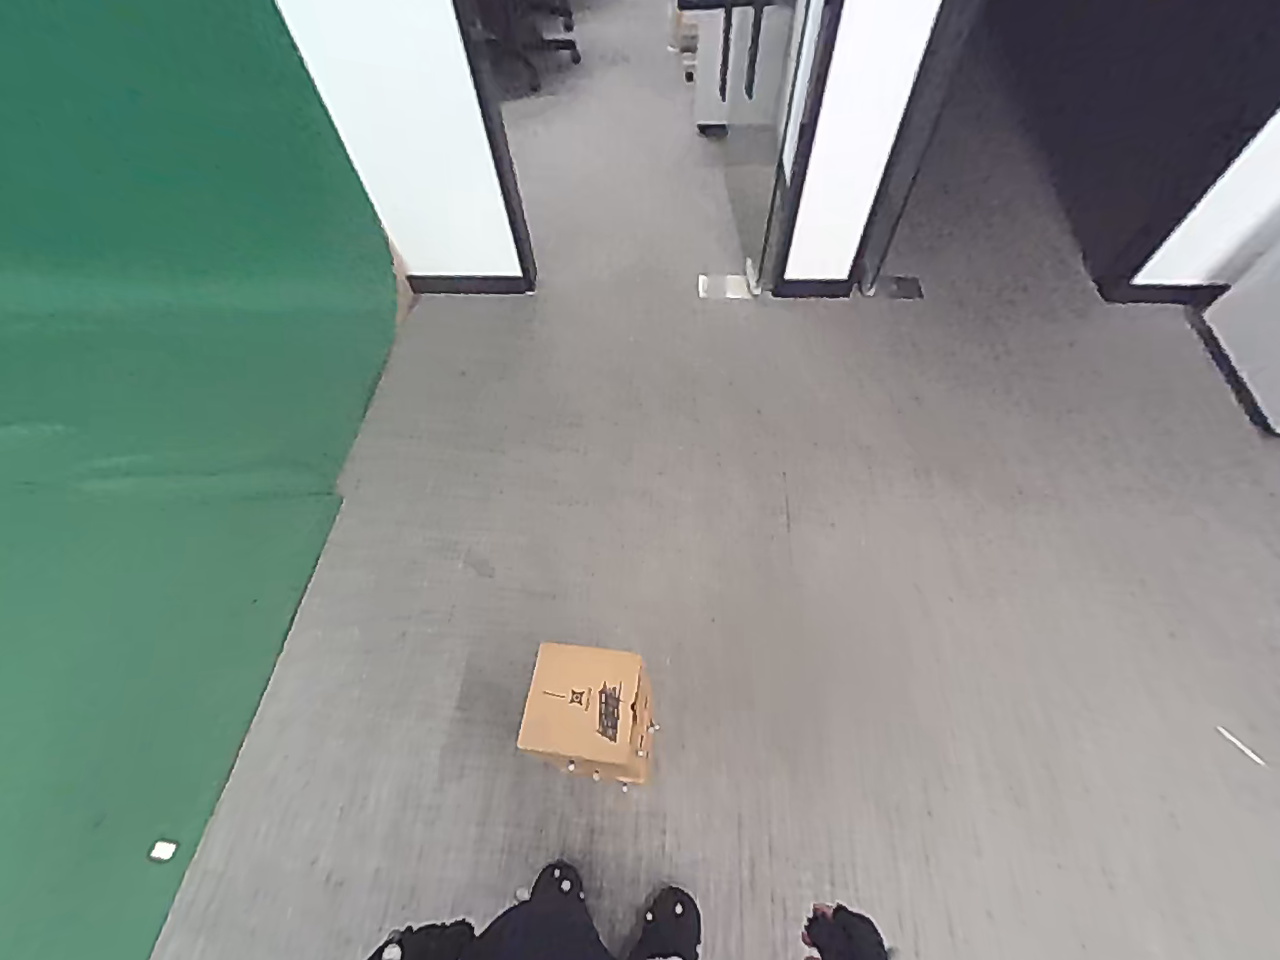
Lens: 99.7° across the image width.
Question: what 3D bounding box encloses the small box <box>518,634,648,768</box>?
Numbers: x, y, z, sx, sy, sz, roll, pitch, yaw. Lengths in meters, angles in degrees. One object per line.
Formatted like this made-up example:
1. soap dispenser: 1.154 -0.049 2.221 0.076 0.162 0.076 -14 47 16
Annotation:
1. small box: -0.084 0.385 0.930 0.179 0.176 0.168 9 57 9

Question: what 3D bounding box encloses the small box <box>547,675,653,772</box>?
1. small box: -0.069 0.473 1.071 0.179 0.176 0.168 6 58 7
